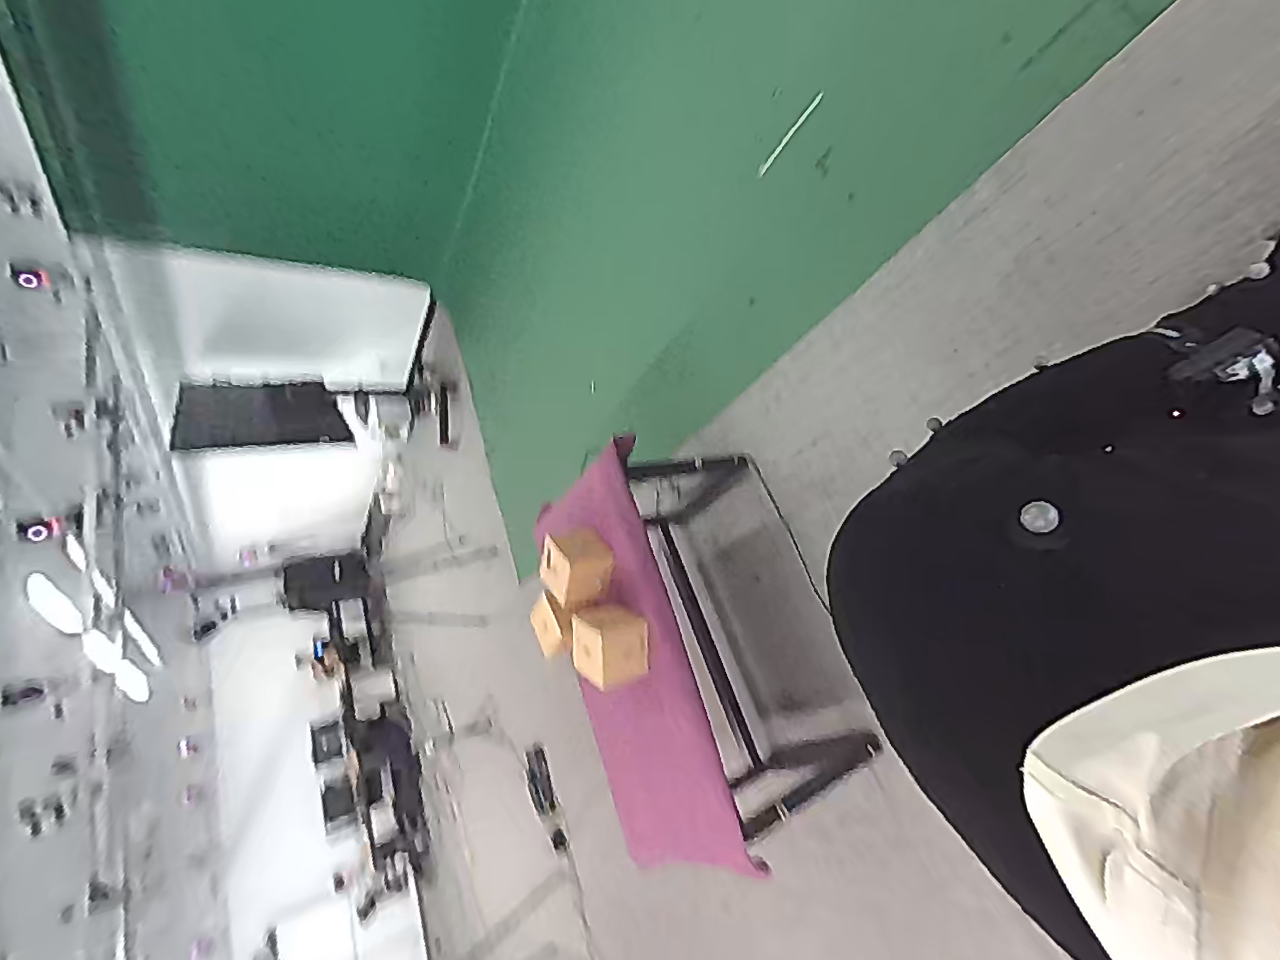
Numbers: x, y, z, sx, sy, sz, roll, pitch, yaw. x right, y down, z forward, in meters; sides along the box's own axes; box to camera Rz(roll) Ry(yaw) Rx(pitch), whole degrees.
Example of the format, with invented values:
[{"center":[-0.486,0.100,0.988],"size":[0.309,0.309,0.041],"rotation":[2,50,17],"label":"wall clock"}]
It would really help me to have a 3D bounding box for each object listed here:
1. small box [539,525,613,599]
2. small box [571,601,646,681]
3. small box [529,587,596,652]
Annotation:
[{"center":[-0.215,0.265,1.798],"size":[0.179,0.176,0.168],"rotation":[40,126,42],"label":"small box"},{"center":[-0.095,0.487,1.666],"size":[0.179,0.176,0.168],"rotation":[10,103,53],"label":"small box"},{"center":[-0.262,0.470,1.898],"size":[0.168,0.176,0.179],"rotation":[58,136,30],"label":"small box"}]
